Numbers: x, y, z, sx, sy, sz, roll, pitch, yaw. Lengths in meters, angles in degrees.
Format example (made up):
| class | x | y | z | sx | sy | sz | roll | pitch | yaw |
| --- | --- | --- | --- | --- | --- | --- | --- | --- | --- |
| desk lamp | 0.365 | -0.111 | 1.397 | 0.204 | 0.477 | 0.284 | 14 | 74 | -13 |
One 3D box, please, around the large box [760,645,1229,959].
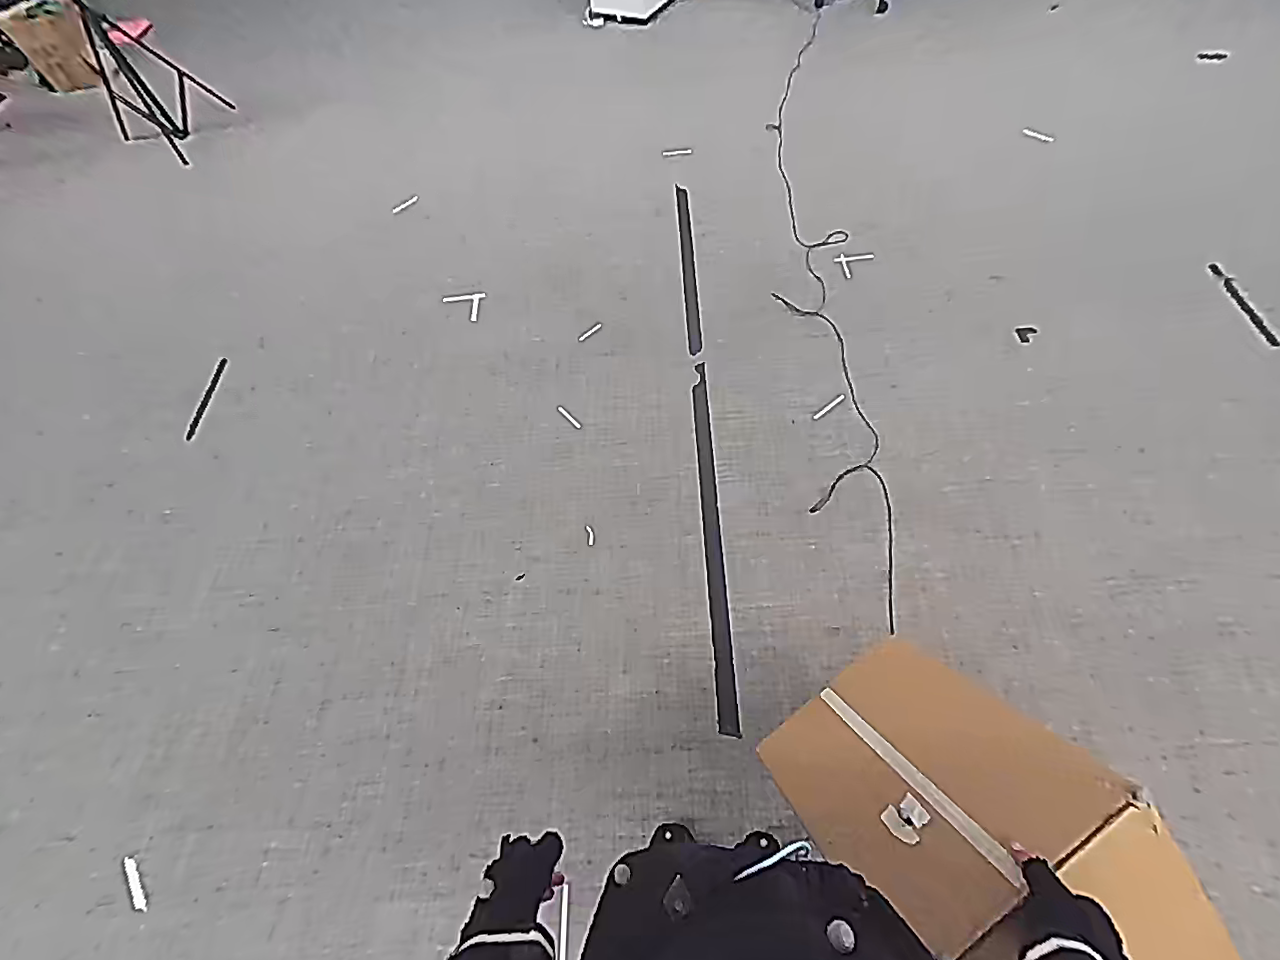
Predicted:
| class | x | y | z | sx | sy | sz | roll | pitch | yaw |
| --- | --- | --- | --- | --- | --- | --- | --- | --- | --- |
| large box | 0.445 | 0.514 | 0.767 | 0.320 | 0.408 | 0.320 | -38 | 102 | -5 |
